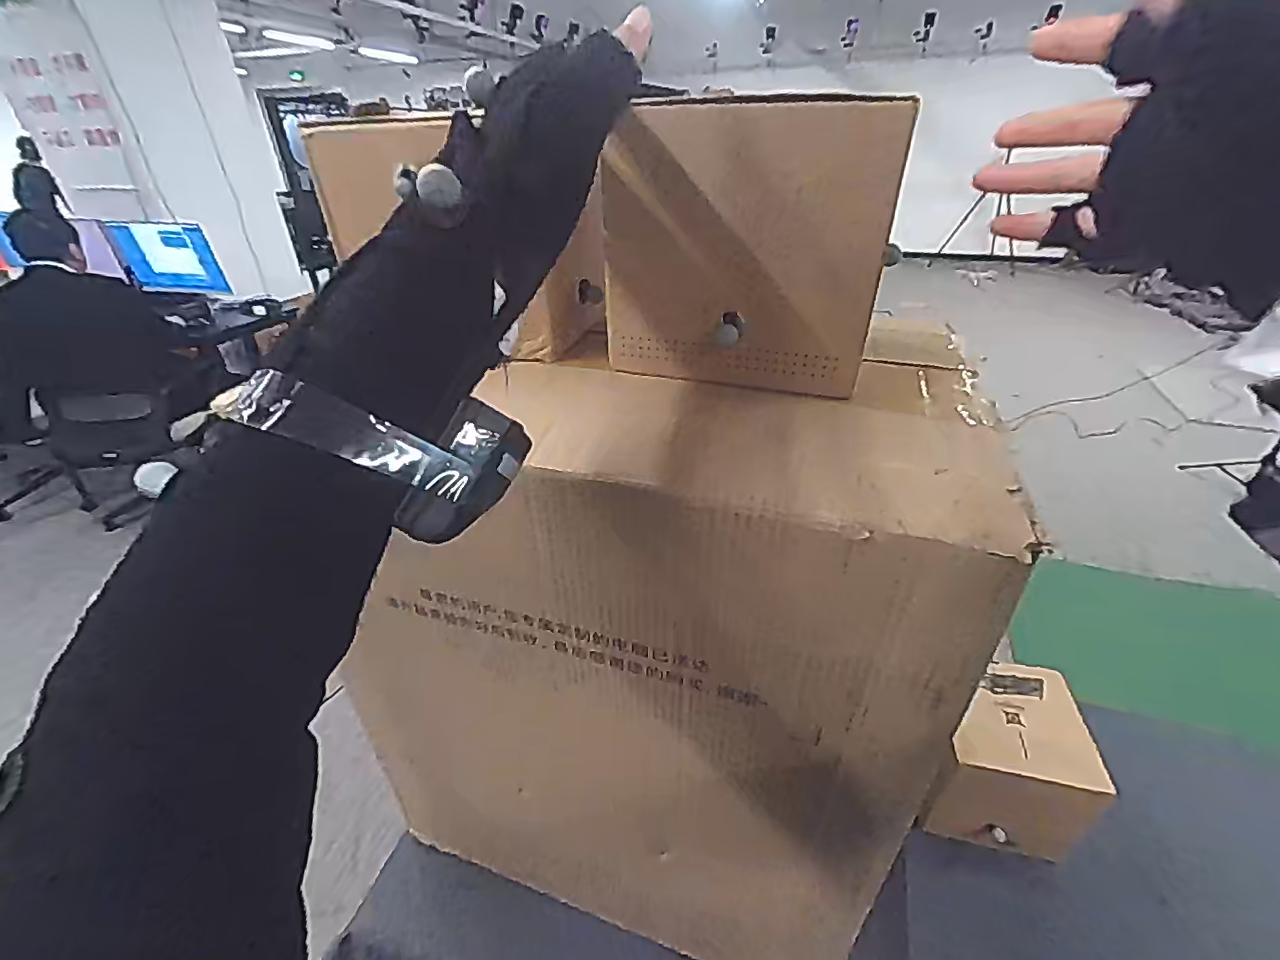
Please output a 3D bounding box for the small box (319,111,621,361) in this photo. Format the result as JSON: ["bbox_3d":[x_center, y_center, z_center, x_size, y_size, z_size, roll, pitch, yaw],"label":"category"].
[{"bbox_3d":[-0.120,-0.212,0.464,0.179,0.176,0.168,8,36,13],"label":"small box"}]

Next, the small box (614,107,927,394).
[{"bbox_3d":[0.092,-0.176,0.406,0.179,0.176,0.168,9,34,16],"label":"small box"}]
